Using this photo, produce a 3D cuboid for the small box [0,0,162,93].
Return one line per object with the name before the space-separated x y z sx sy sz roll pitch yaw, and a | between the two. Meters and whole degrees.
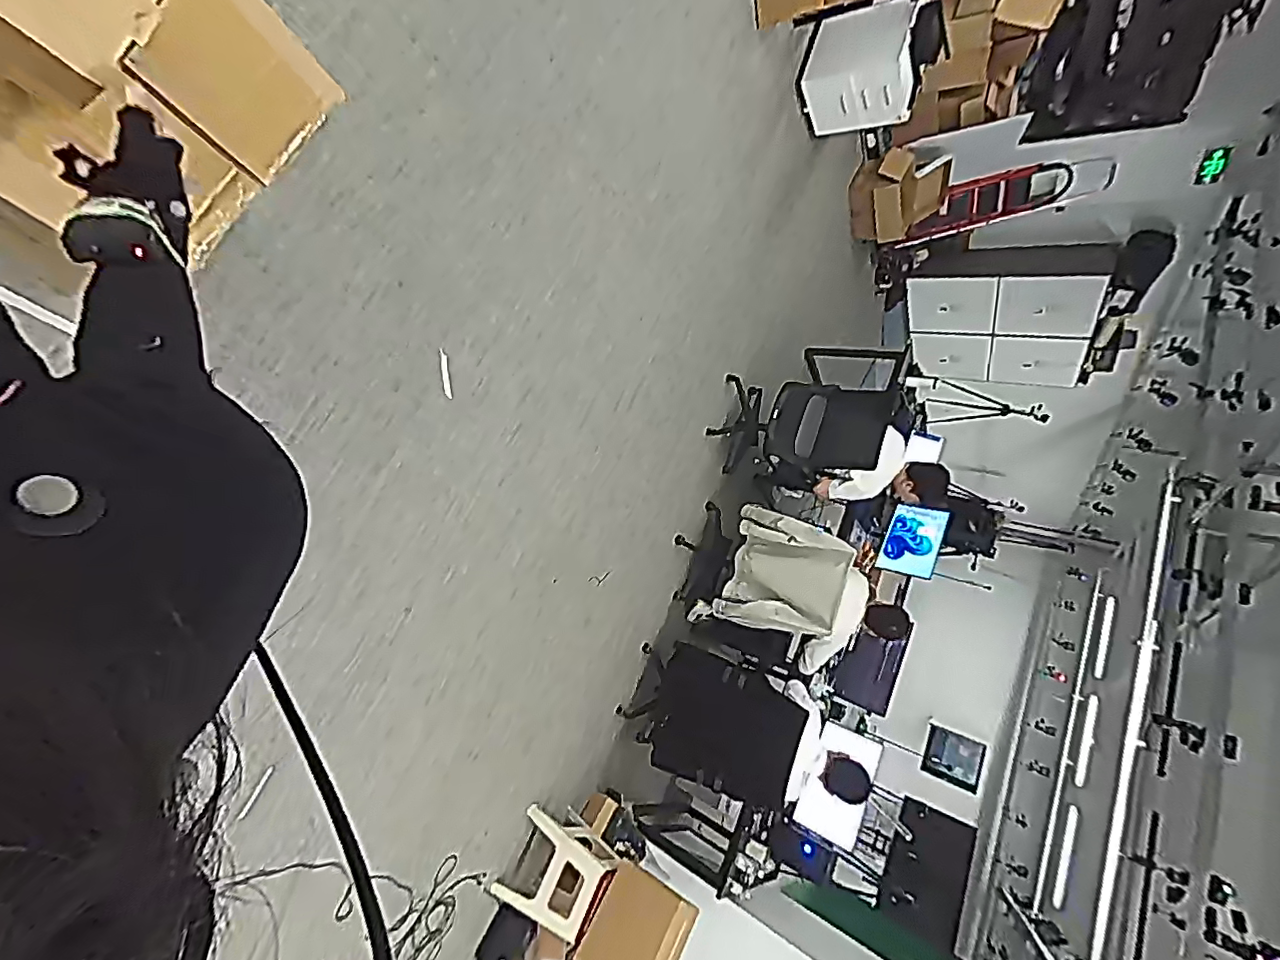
small box | -0.585 -0.501 0.502 0.179 0.176 0.168 35 74 -54
